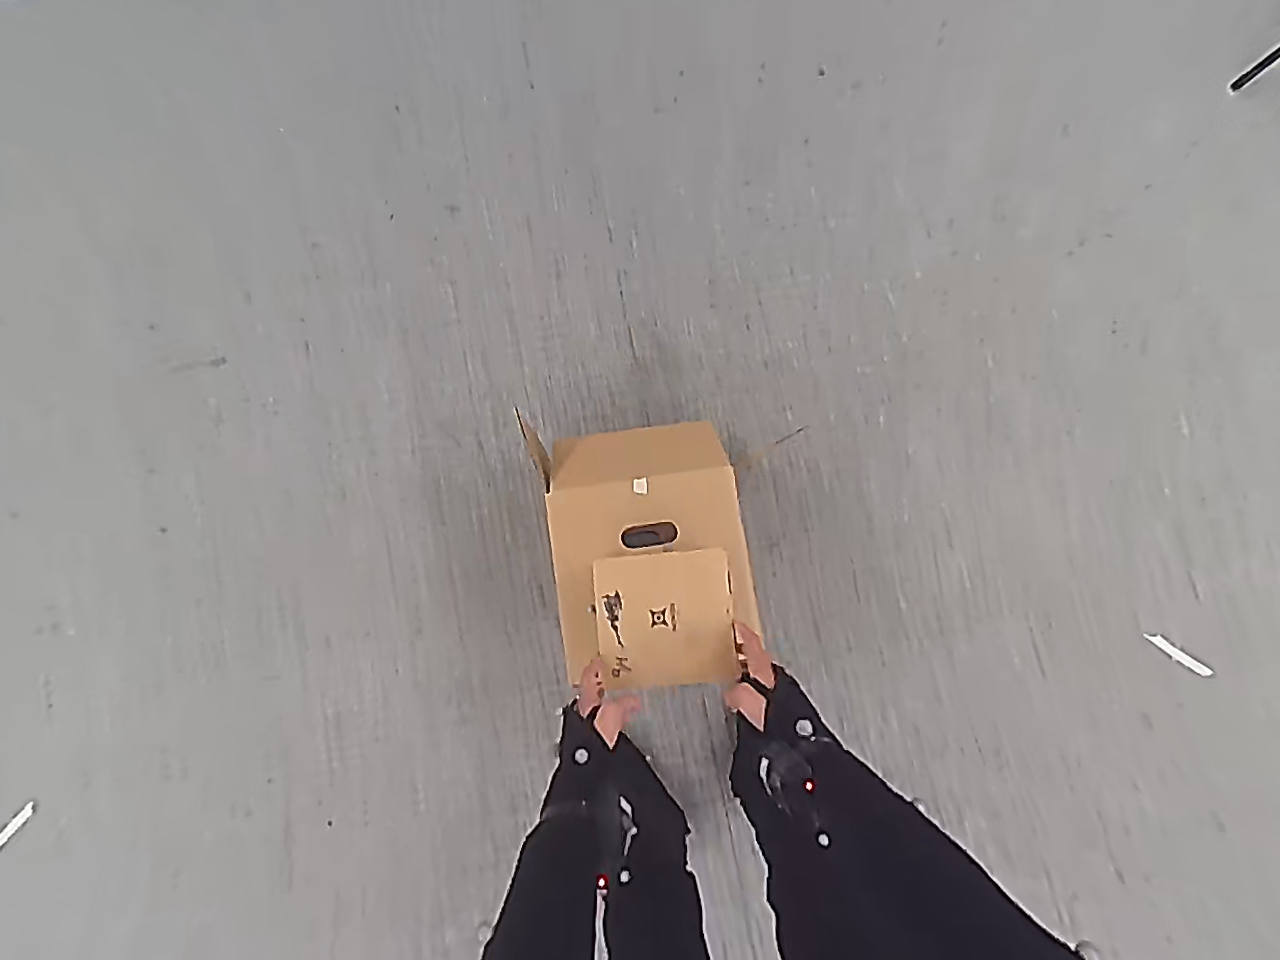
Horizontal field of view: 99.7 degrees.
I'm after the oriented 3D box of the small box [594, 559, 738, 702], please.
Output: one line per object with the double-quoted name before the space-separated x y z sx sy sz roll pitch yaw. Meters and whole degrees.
"small box" 0.030 0.202 0.771 0.179 0.176 0.168 -5 83 -1
